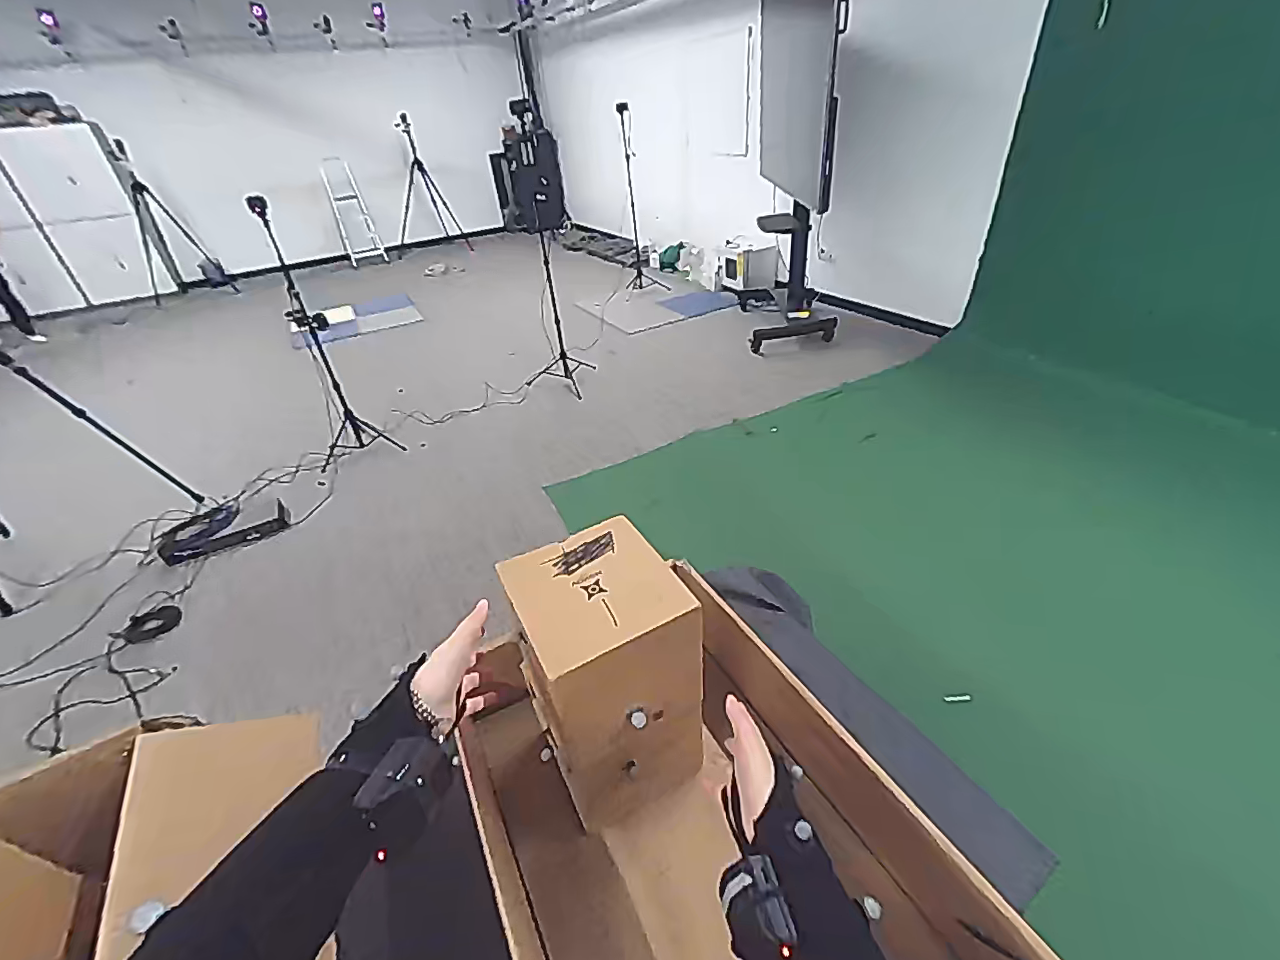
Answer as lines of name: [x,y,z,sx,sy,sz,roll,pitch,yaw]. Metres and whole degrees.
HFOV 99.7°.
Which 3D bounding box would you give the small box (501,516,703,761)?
small box: [-0.043,0.176,0.622,0.168,0.176,0.179,-21,40,-20]
